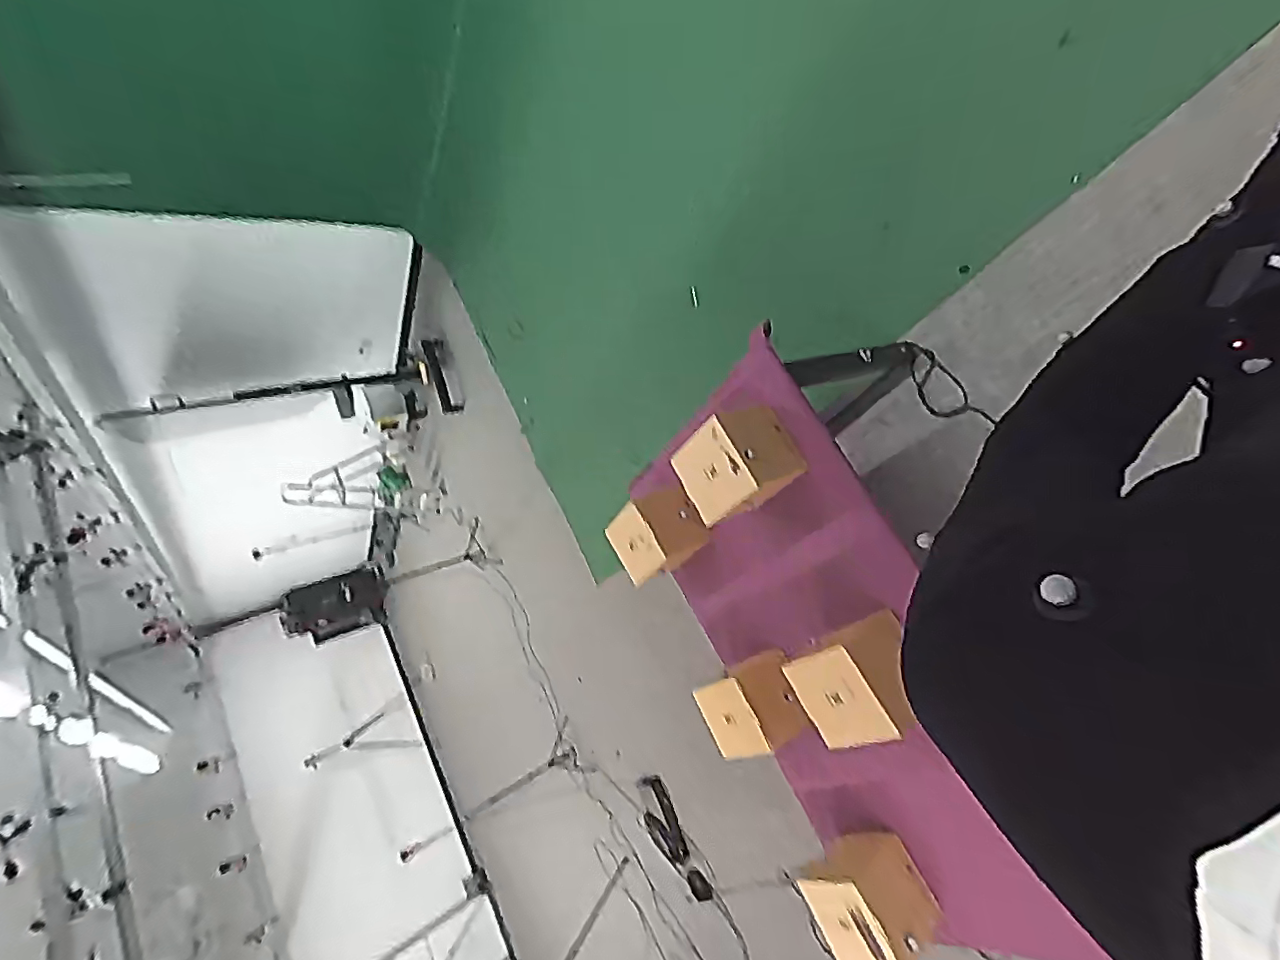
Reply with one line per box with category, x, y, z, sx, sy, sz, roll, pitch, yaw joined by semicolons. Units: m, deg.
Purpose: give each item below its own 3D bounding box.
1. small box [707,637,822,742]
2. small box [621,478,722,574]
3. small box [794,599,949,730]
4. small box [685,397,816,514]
small box;0.300;0.499;1.291;0.179;0.176;0.168;-46;66;49
small box;0.084;0.118;1.419;0.168;0.176;0.179;58;141;16
small box;0.441;0.352;1.036;0.168;0.176;0.179;60;144;16
small box;0.233;-0.053;1.146;0.168;0.176;0.179;61;143;15
